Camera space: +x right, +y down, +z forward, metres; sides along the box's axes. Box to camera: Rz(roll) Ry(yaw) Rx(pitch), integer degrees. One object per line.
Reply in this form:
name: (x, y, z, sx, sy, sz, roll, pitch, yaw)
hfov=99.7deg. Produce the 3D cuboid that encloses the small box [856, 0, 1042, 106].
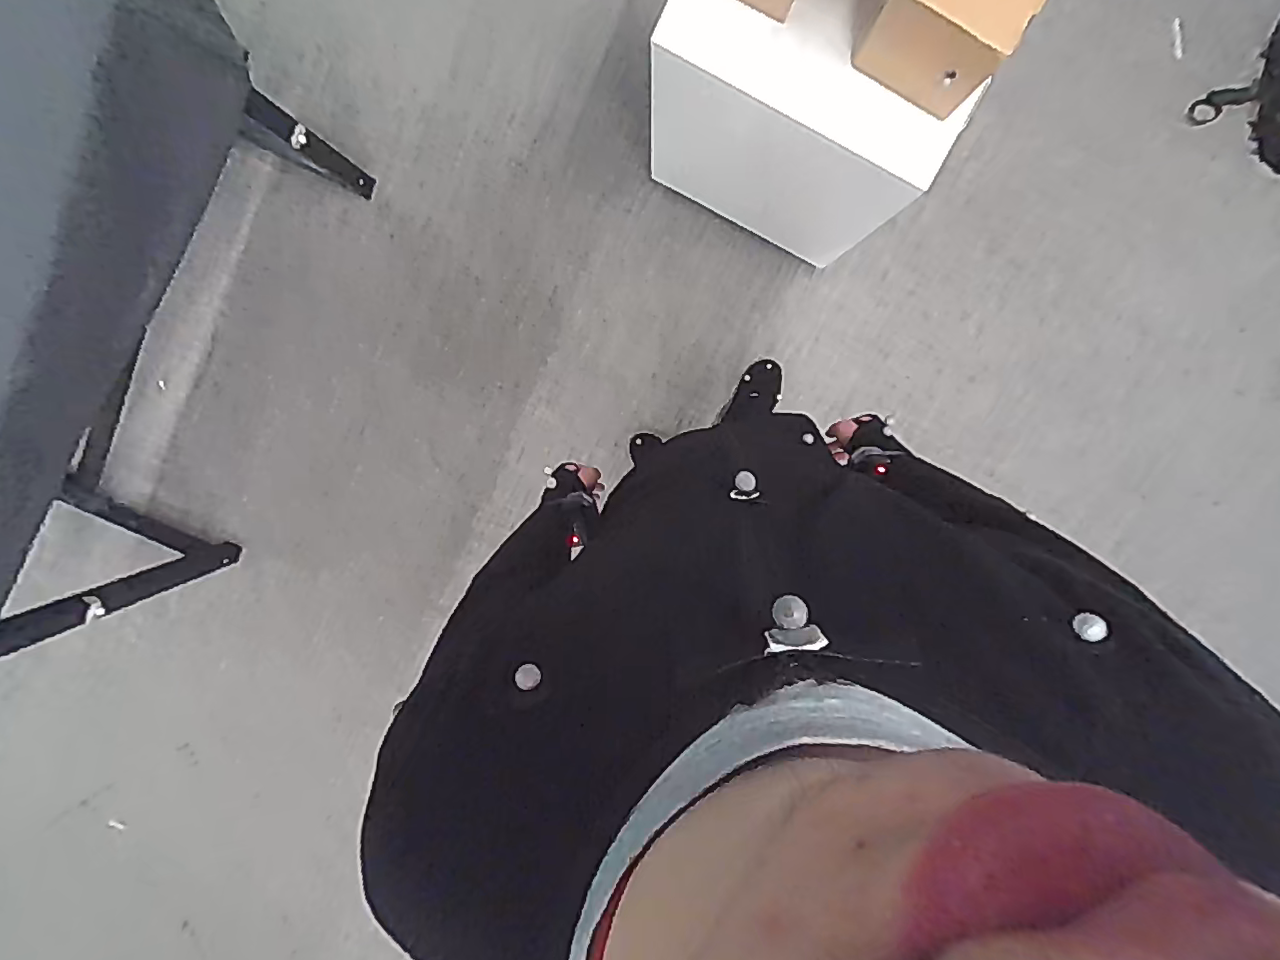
small box: (0.441, -0.670, 0.755, 0.179, 0.176, 0.168, 28, 98, -1)
